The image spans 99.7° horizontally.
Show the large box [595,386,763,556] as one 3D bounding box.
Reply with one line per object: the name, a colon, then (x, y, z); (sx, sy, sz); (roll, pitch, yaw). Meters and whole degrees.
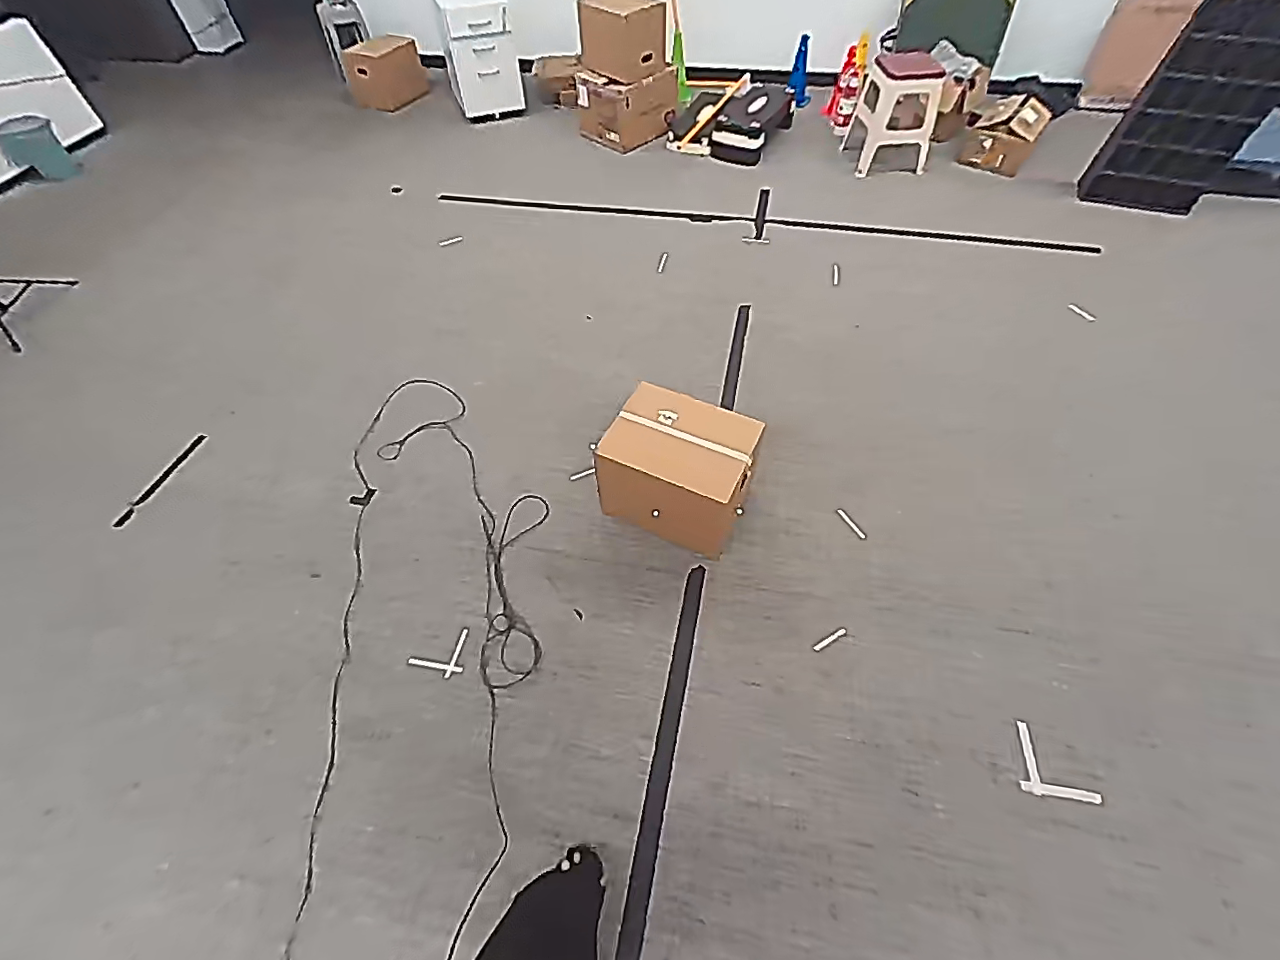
large box: (0.121, -0.025, 1.657); (0.408, 0.320, 0.320); (22, 57, 17)
